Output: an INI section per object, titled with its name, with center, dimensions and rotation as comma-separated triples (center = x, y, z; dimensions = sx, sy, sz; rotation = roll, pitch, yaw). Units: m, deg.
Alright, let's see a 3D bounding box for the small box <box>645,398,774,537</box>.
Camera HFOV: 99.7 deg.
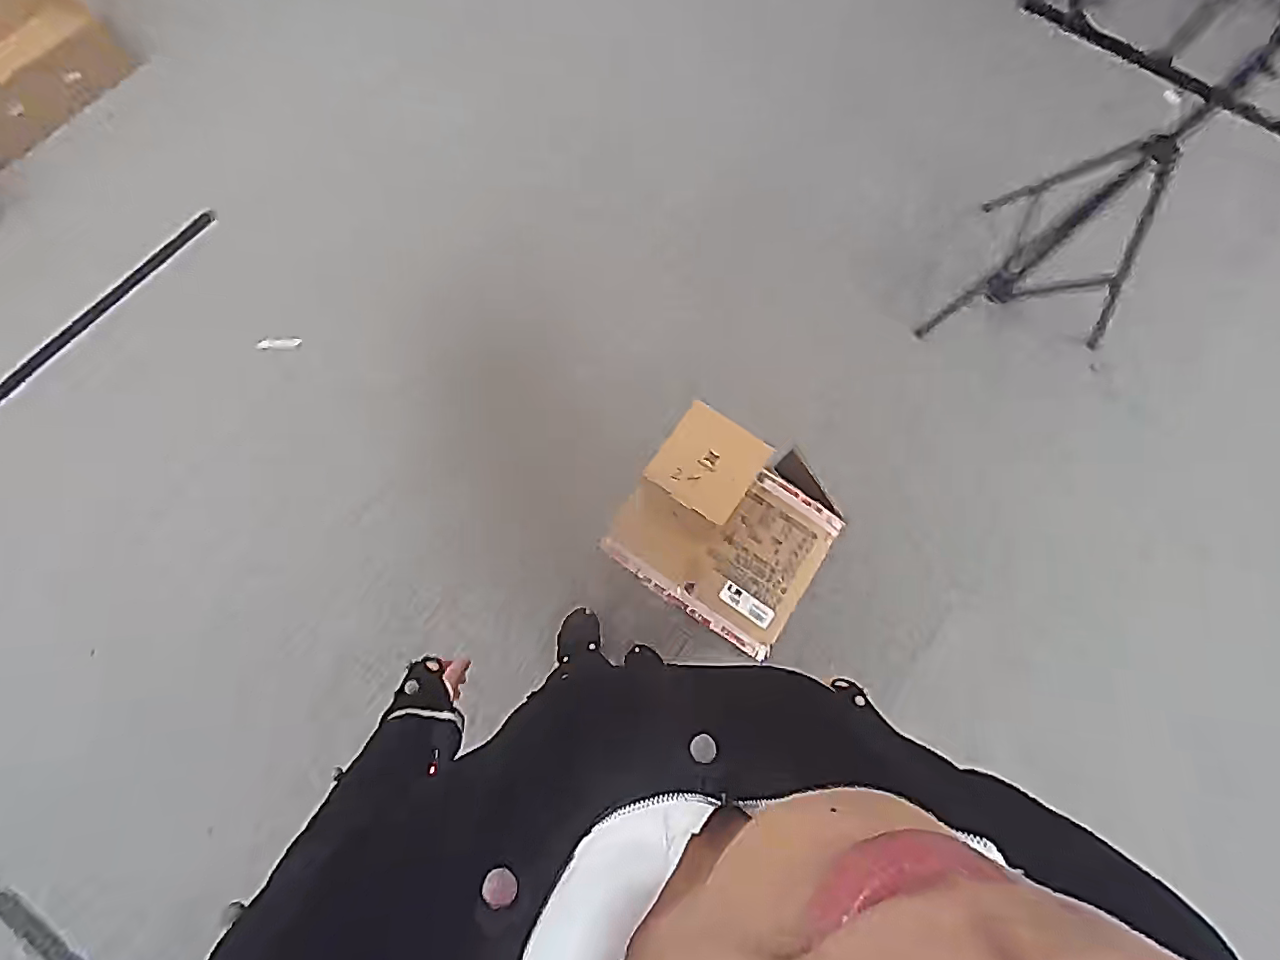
[small box]
center = 0.120, -0.016, 1.016
dimensions = 0.168, 0.176, 0.179
rotation = 35, 78, 9
